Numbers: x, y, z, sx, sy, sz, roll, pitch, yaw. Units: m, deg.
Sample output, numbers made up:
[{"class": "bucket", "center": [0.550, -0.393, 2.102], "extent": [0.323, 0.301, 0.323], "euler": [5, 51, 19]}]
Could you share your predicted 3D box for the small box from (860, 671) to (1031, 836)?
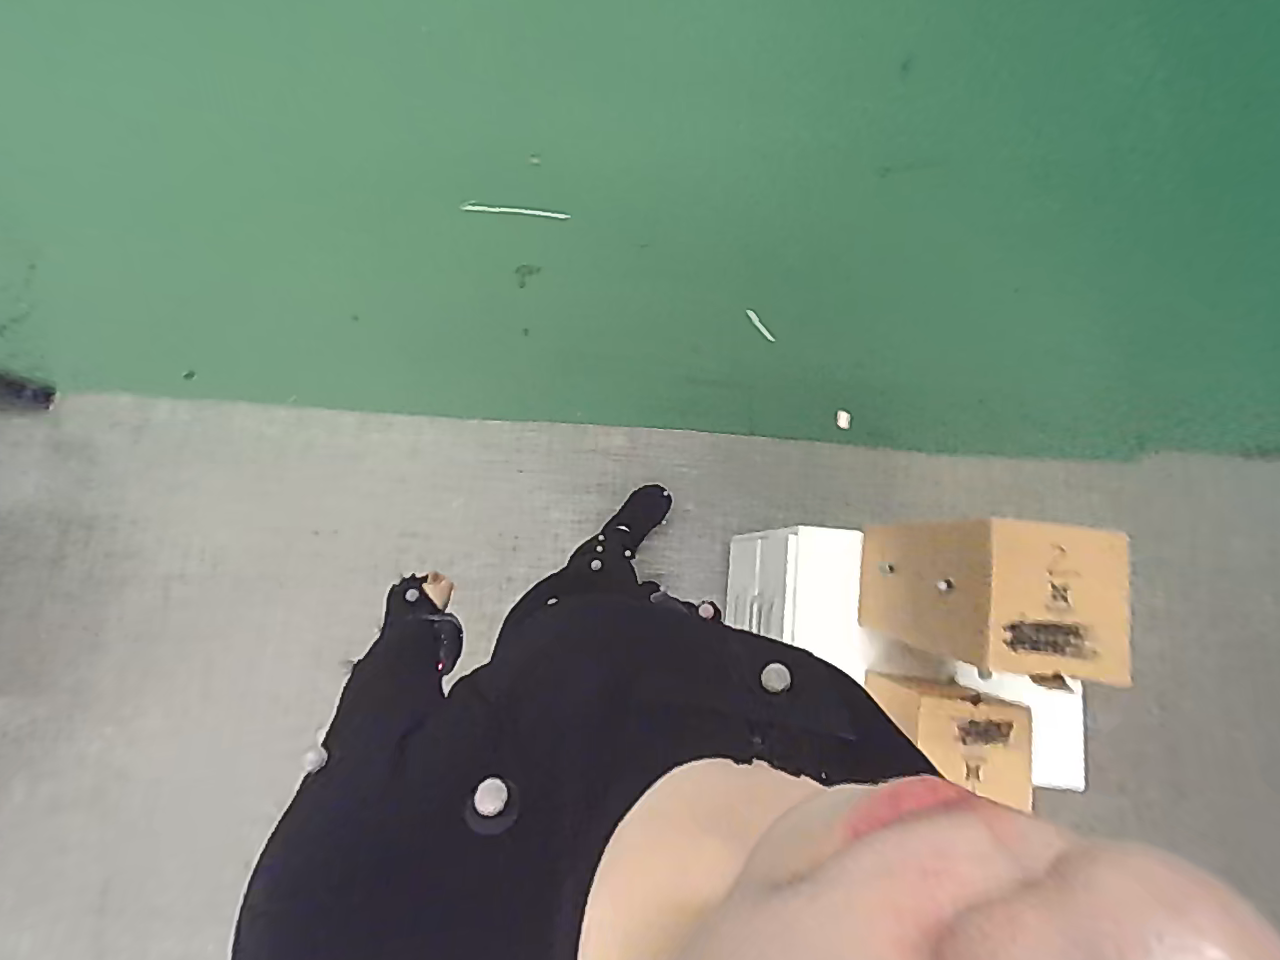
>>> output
[{"class": "small box", "center": [0.455, 0.402, 0.826], "extent": [0.168, 0.176, 0.179], "euler": [8, 81, -1]}]

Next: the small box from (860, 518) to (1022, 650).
[{"class": "small box", "center": [0.467, 0.160, 0.861], "extent": [0.168, 0.176, 0.179], "euler": [6, 83, -1]}]
